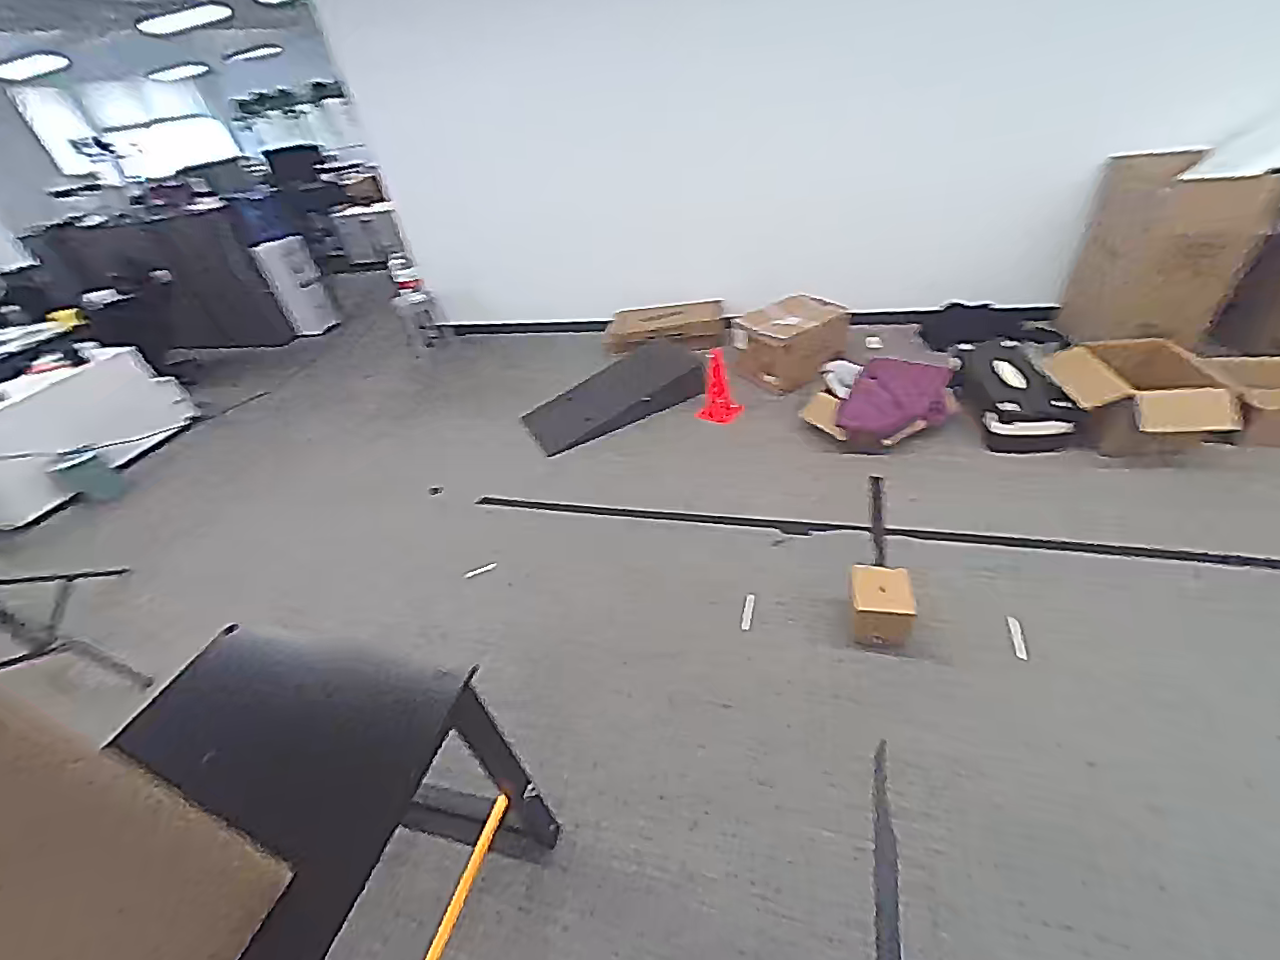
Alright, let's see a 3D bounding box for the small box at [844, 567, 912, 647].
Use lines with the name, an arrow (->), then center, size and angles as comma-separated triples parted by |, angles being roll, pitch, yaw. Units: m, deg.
small box -> 0.739, 0.397, 1.695 | 0.168, 0.176, 0.179 | 0, 40, 15
